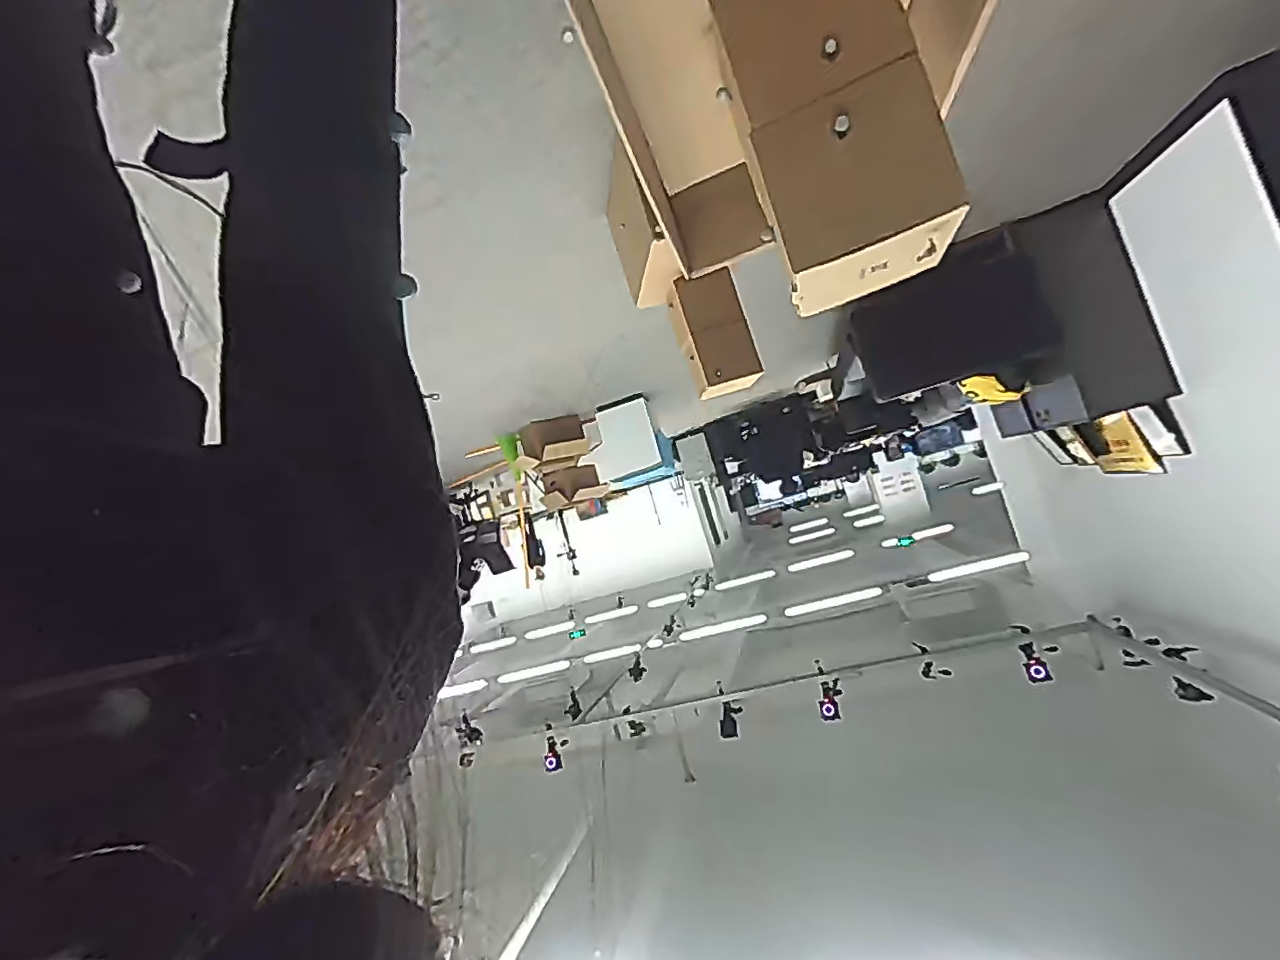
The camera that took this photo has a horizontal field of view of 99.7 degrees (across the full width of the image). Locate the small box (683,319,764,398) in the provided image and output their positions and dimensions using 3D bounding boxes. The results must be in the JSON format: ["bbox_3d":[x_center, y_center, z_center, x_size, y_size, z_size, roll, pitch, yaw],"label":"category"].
[{"bbox_3d":[0.246,-0.367,1.627,0.179,0.176,0.168,-16,176,-5],"label":"small box"}]

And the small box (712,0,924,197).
[{"bbox_3d":[0.201,-0.485,0.639,0.179,0.176,0.168,-17,175,14],"label":"small box"}]

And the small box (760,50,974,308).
[{"bbox_3d":[0.245,-0.329,0.624,0.179,0.176,0.168,-17,176,17],"label":"small box"}]
